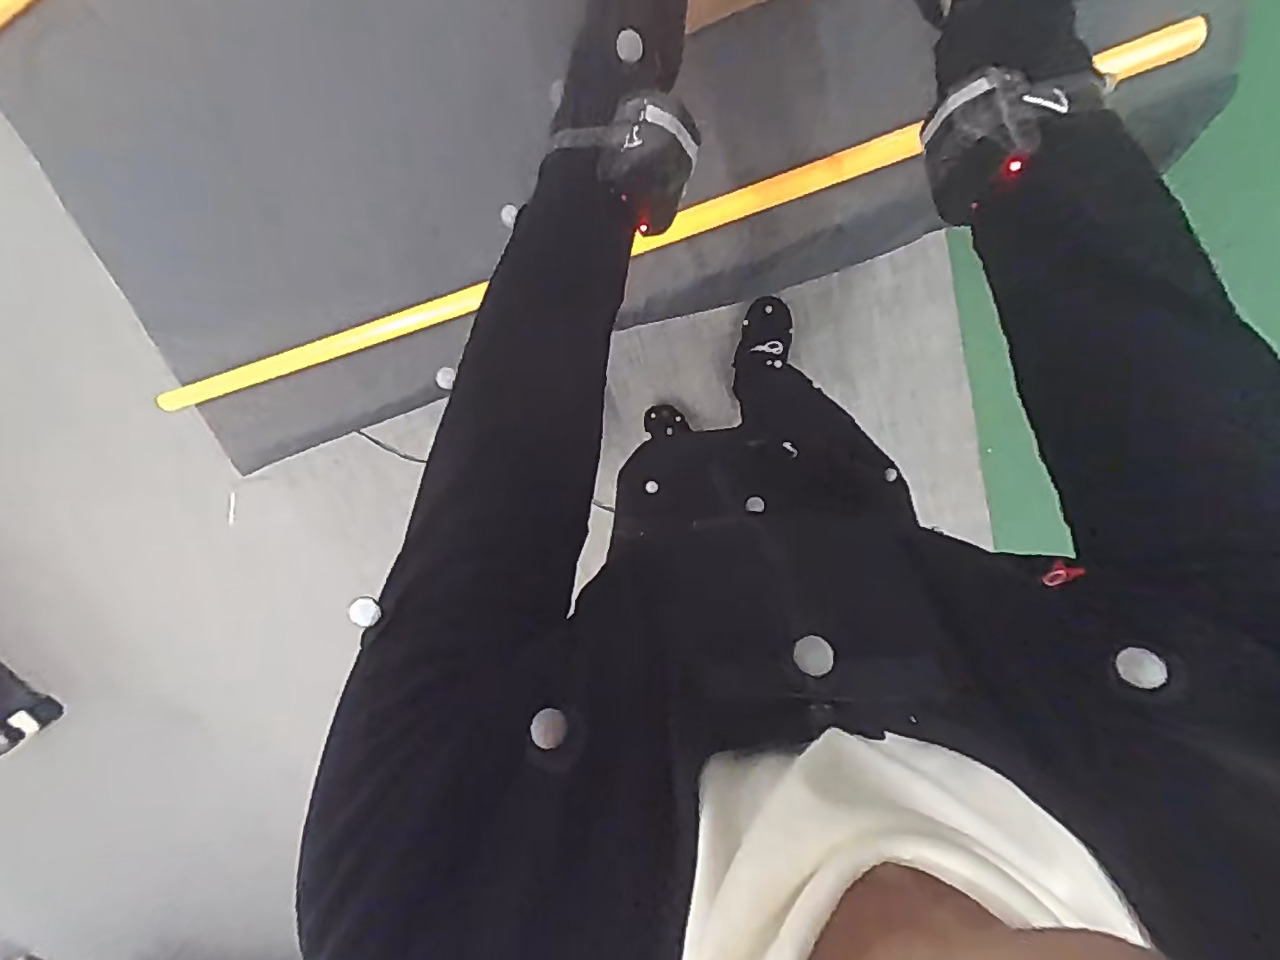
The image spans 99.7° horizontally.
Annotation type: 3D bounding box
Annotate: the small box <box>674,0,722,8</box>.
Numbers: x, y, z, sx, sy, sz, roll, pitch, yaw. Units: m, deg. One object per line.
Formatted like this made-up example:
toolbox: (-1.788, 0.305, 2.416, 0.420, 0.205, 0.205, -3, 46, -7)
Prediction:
small box: (0.075, -0.484, 0.381, 0.168, 0.176, 0.179, -12, 108, 12)
